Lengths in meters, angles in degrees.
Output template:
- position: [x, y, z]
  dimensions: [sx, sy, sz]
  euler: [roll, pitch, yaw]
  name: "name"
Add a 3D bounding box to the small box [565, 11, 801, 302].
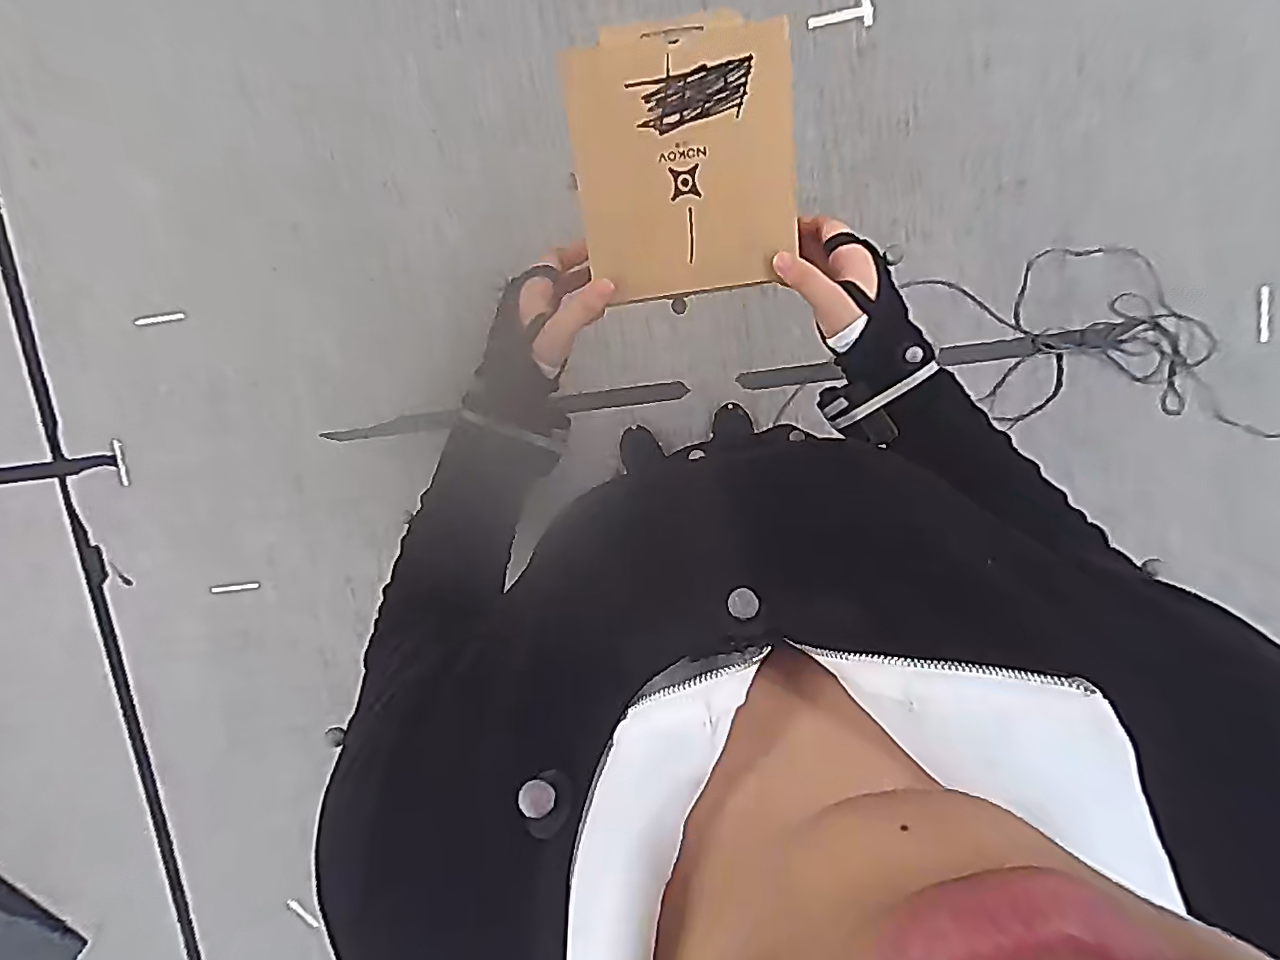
- position: [0.034, -0.258, 0.477]
  dimensions: [0.168, 0.176, 0.179]
  euler: [-8, 108, 2]
  name: "small box"
